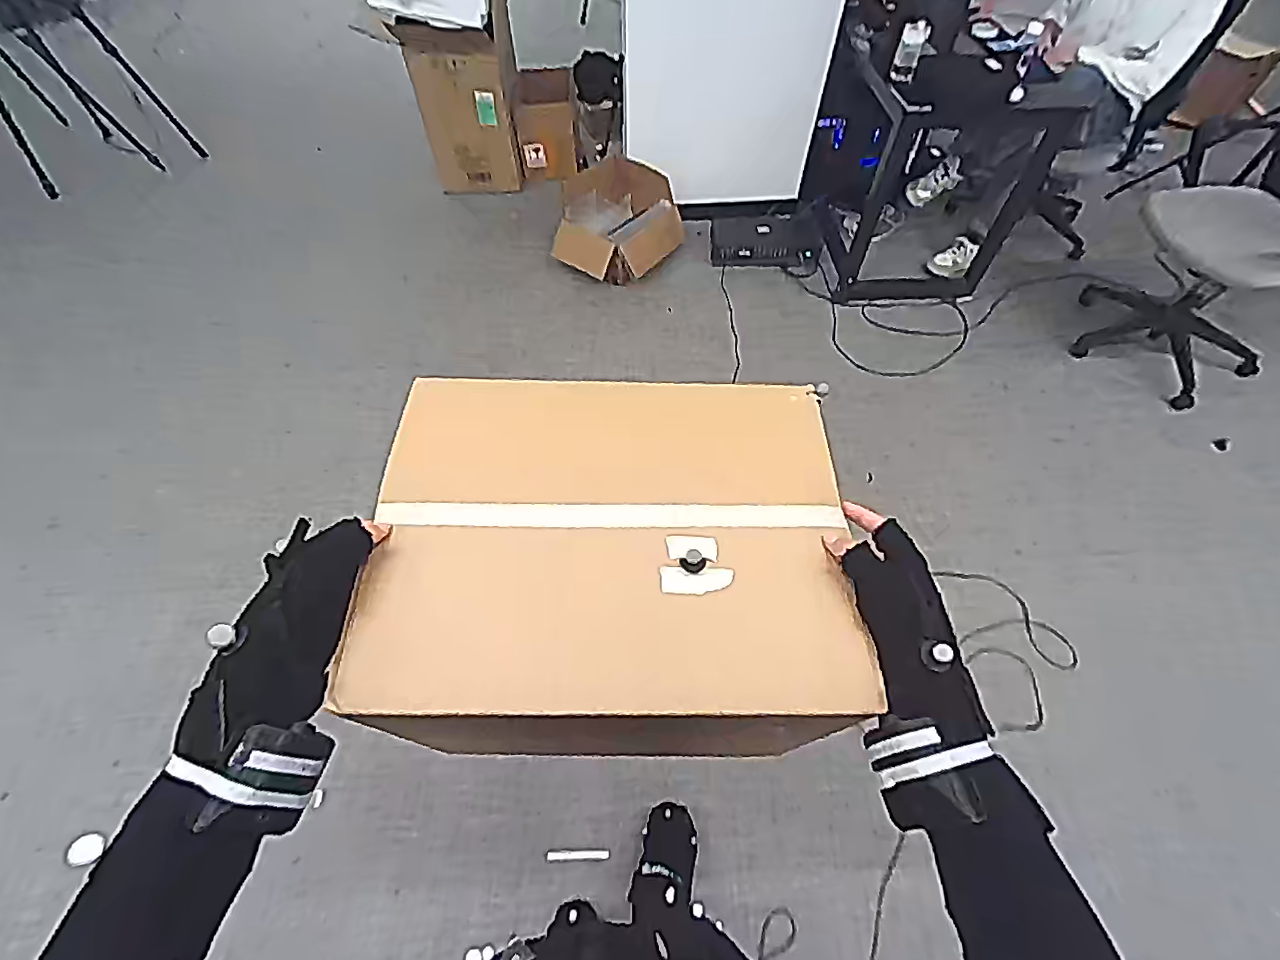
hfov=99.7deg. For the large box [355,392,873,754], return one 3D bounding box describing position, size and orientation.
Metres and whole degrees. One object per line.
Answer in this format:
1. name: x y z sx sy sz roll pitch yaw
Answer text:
1. large box: -0.025 0.119 0.612 0.408 0.320 0.320 1 58 -2
